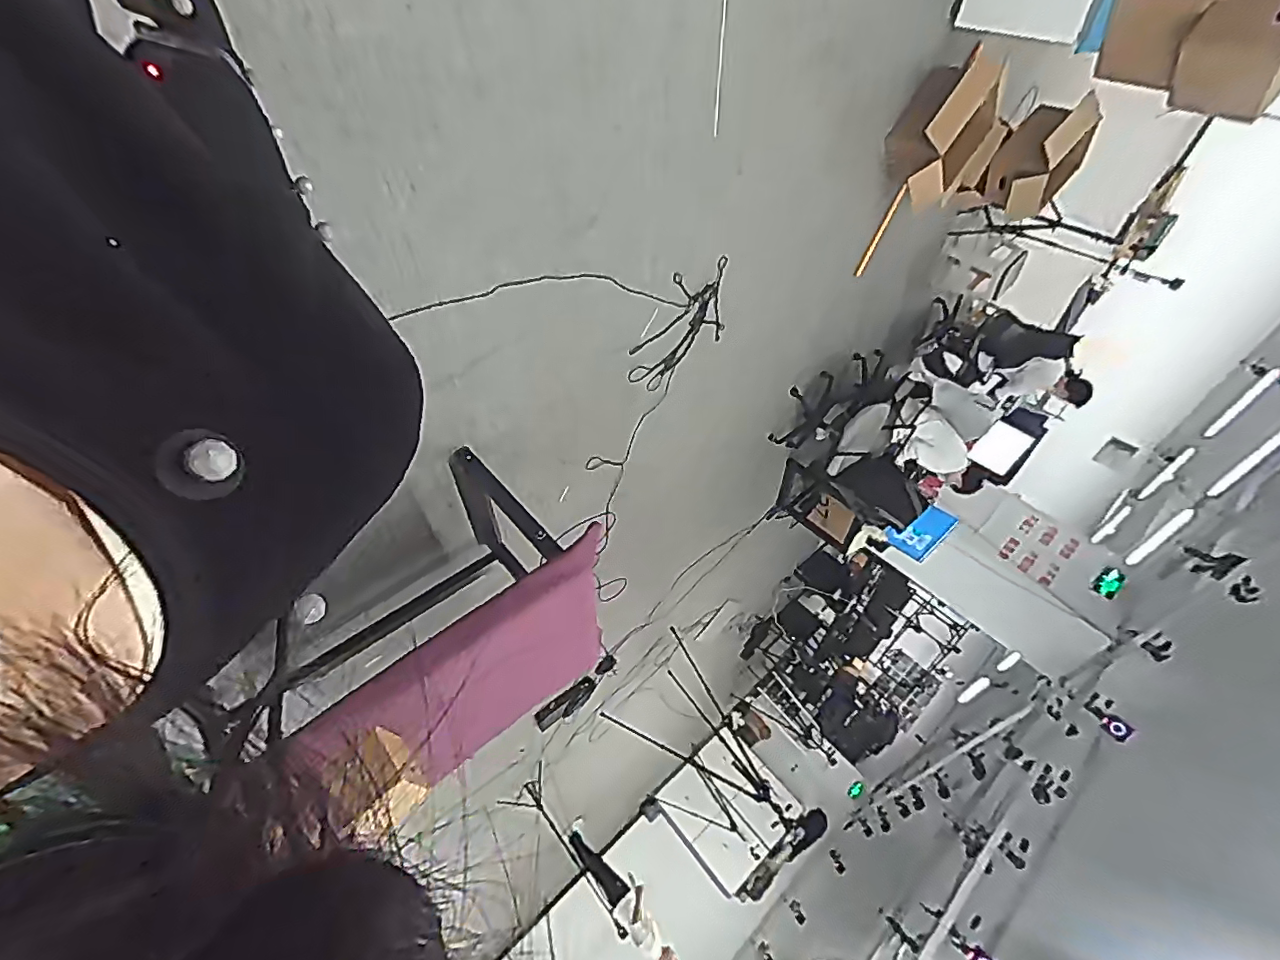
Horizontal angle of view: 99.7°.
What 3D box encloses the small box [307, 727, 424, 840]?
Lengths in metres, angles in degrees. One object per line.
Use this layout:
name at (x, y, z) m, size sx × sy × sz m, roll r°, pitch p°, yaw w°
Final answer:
small box at (-0.668, 0.738, 1.322) m, size 0.168 × 0.176 × 0.179 m, roll -37°, pitch 149°, yaw -22°
